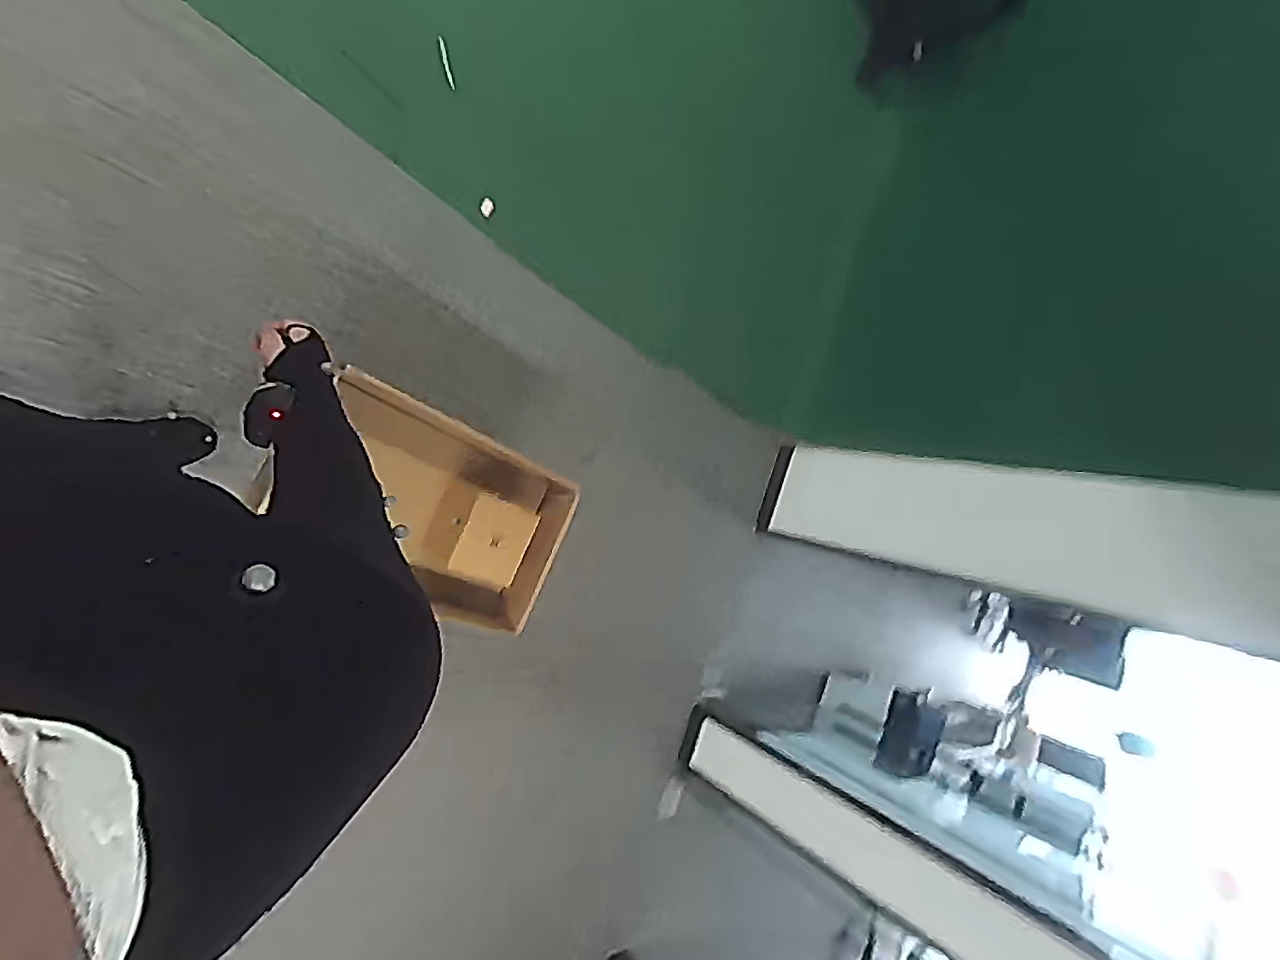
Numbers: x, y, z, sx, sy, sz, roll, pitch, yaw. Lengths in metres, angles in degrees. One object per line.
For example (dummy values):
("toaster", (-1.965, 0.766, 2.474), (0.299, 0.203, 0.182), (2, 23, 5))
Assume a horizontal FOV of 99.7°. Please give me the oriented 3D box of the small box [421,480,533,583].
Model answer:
("small box", (-0.387, 0.118, 1.267), (0.168, 0.176, 0.179), (31, 77, -41))
